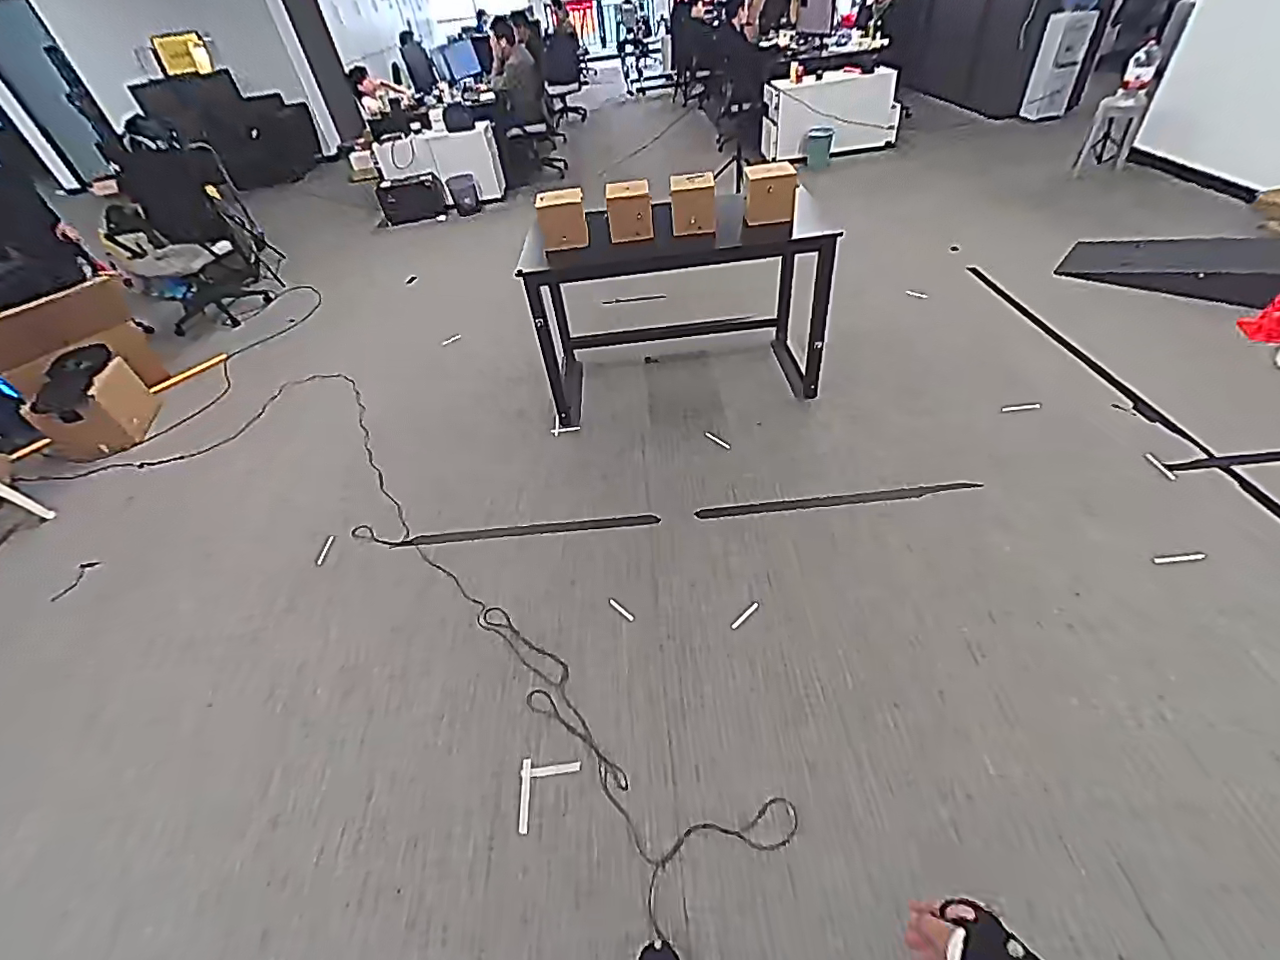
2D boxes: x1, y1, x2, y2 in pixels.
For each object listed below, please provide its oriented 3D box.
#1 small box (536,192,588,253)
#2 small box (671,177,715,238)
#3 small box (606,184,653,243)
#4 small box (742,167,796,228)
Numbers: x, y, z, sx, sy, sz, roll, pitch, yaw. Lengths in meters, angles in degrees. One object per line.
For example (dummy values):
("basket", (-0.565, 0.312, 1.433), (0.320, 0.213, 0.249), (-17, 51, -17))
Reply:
("small box", (-0.302, -1.014, 2.135), (0.179, 0.176, 0.168), (-7, 43, 0))
("small box", (0.206, -1.063, 2.112), (0.168, 0.176, 0.179), (-3, 44, 5))
("small box", (-0.042, -1.046, 2.133), (0.168, 0.176, 0.179), (-6, 42, 1))
("small box", (0.496, -1.092, 2.098), (0.179, 0.176, 0.168), (-5, 43, 4))
